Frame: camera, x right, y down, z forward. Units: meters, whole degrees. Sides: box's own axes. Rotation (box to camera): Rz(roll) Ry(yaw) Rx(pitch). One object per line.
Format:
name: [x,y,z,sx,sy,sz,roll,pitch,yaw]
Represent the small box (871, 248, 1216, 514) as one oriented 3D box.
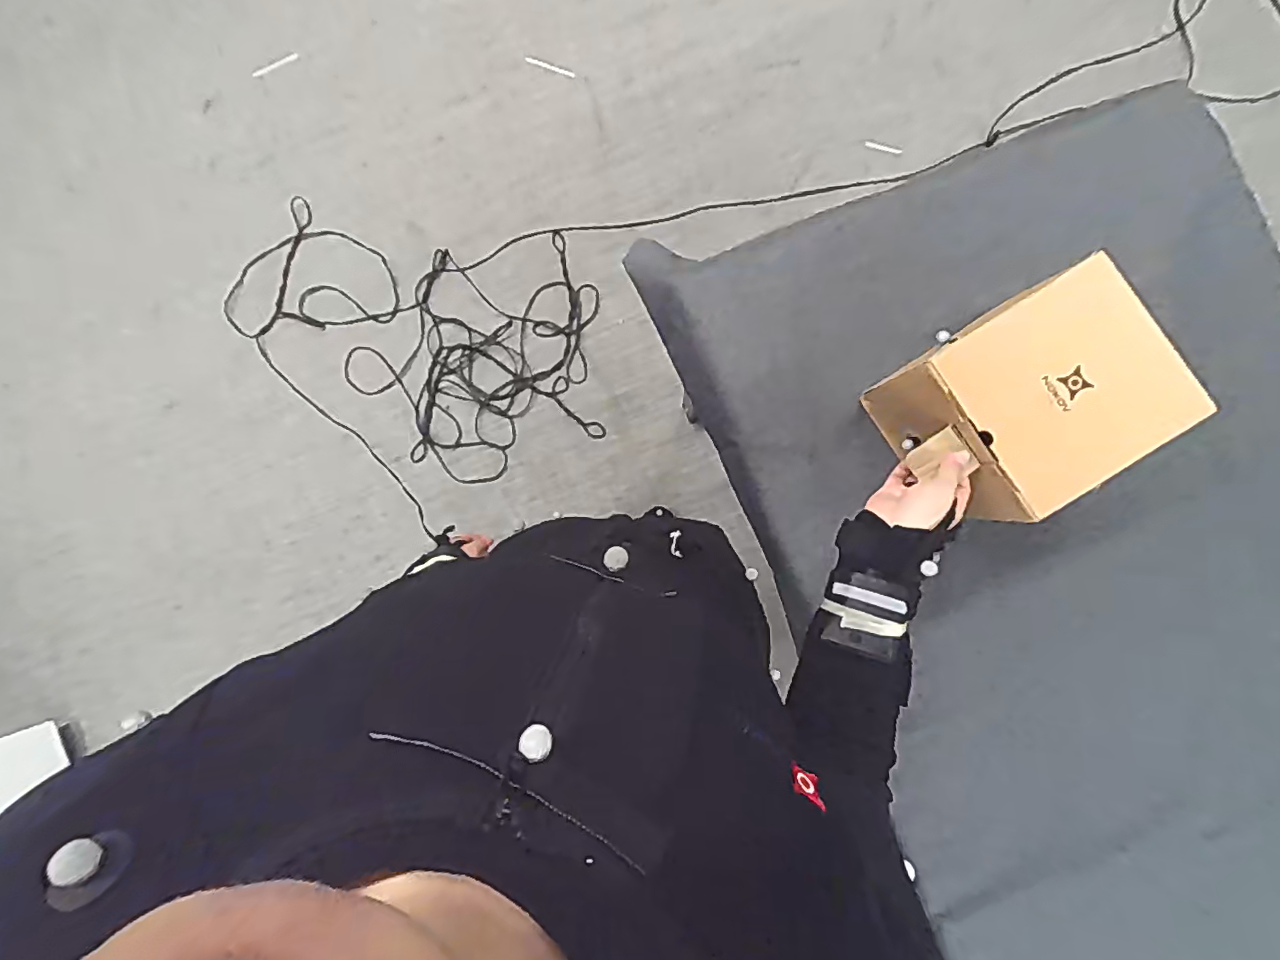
small box: [0.369,-0.084,0.534,0.179,0.176,0.168,-33,88,2]
